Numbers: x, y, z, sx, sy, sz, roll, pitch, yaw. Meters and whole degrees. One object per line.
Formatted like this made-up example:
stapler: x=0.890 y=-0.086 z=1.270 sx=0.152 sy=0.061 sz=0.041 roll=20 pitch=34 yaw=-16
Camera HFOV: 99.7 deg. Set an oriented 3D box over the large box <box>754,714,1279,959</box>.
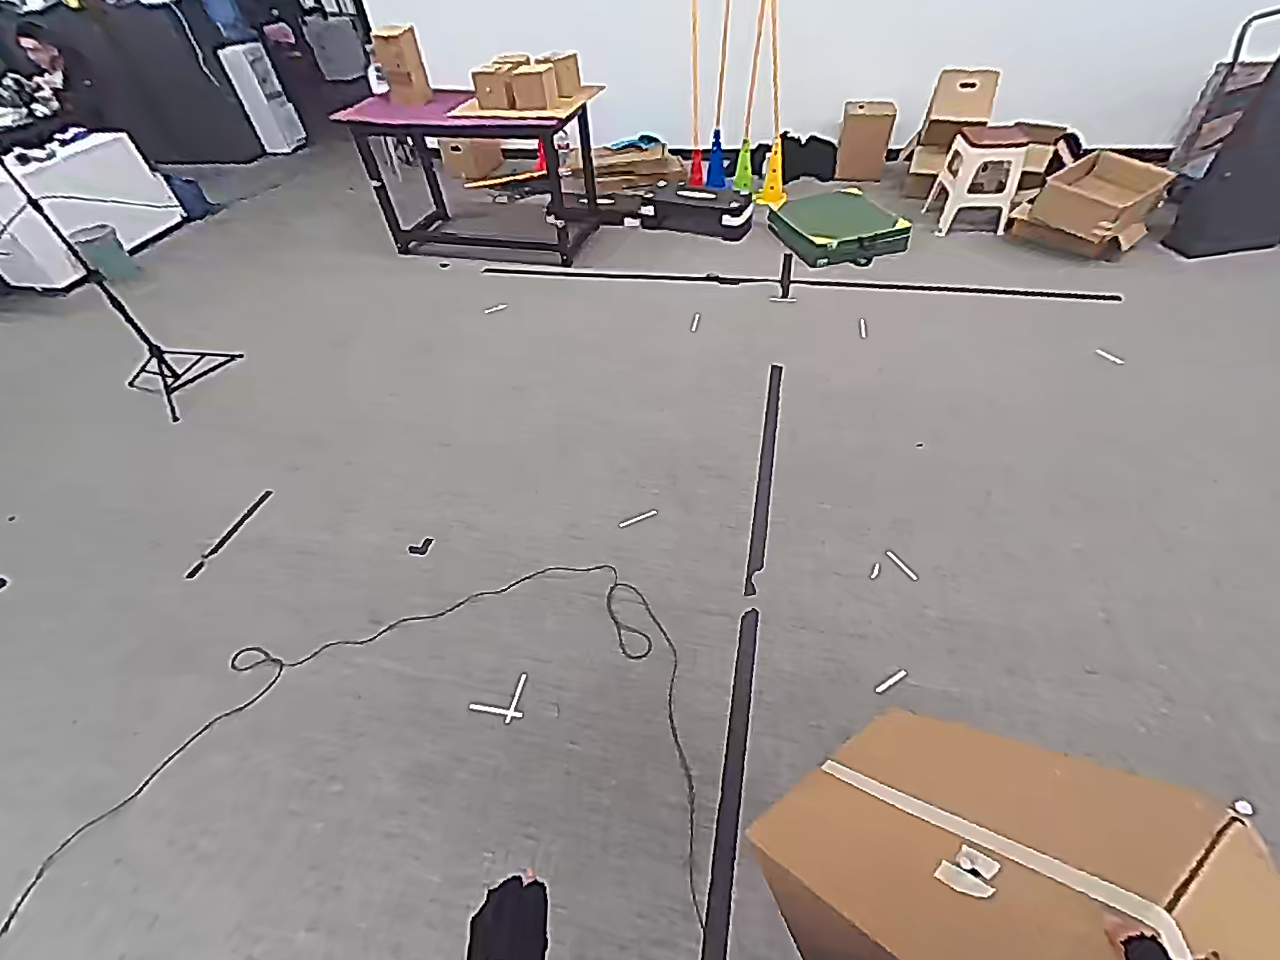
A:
large box: x=0.408 y=0.524 z=0.607 sx=0.320 sy=0.408 sz=0.320 roll=-25 pitch=90 yaw=-23
